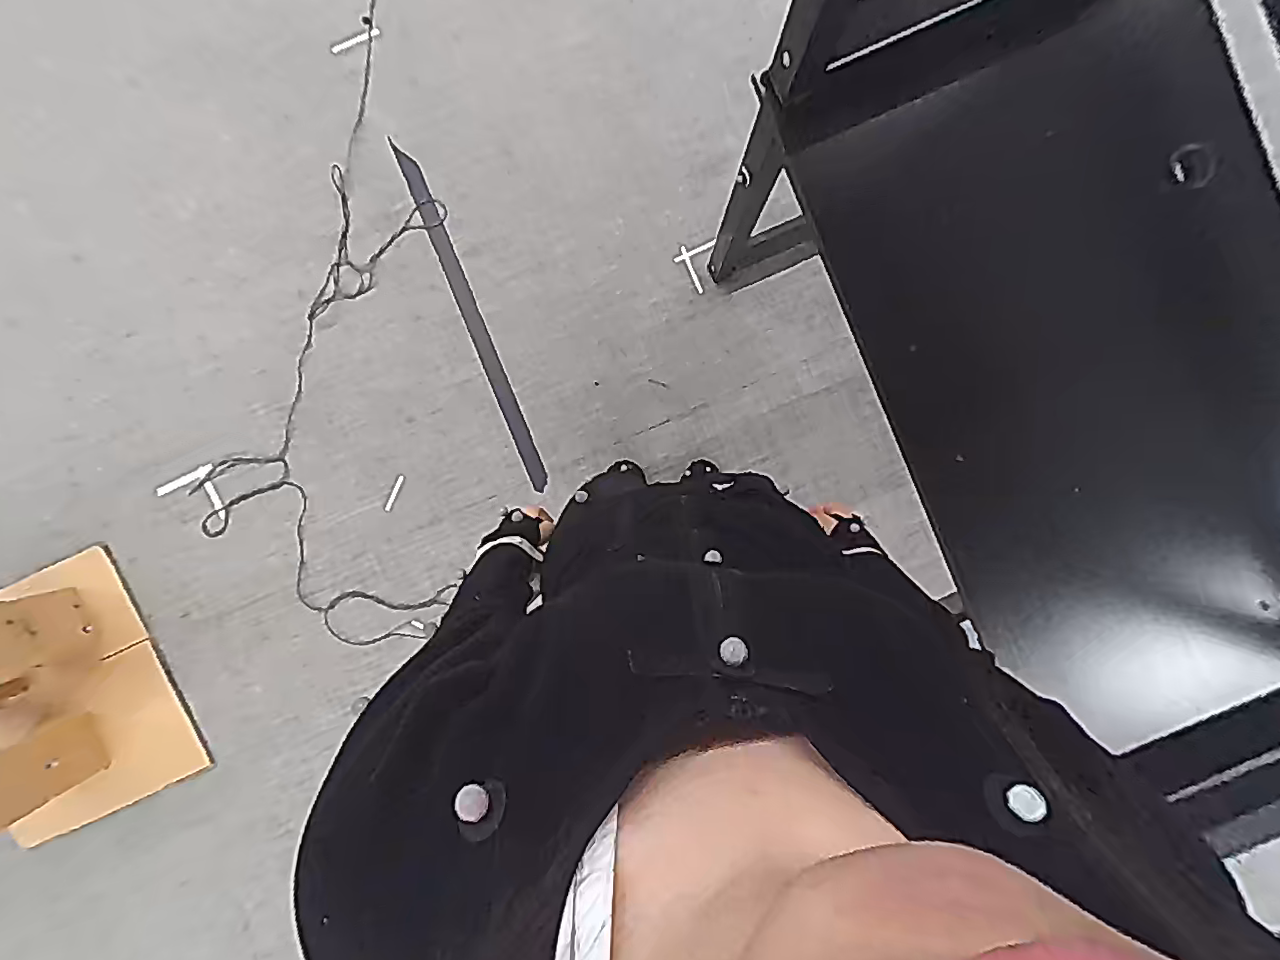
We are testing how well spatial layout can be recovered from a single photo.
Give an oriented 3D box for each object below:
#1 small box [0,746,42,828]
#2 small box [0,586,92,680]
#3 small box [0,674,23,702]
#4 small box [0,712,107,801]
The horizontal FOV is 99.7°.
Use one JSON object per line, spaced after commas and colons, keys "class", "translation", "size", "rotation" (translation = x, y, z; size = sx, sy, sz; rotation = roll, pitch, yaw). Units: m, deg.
{"class": "small box", "translation": [-1.593, 0.755, 1.268], "size": [0.168, 0.176, 0.179], "rotation": [-20, 94, 1]}
{"class": "small box", "translation": [-1.608, 0.401, 1.417], "size": [0.179, 0.176, 0.168], "rotation": [-29, 92, 2]}
{"class": "small box", "translation": [-1.825, 0.547, 1.426], "size": [0.168, 0.176, 0.179], "rotation": [-29, 93, 2]}
{"class": "small box", "translation": [-1.593, 0.744, 1.433], "size": [0.168, 0.176, 0.179], "rotation": [-21, 94, 1]}
